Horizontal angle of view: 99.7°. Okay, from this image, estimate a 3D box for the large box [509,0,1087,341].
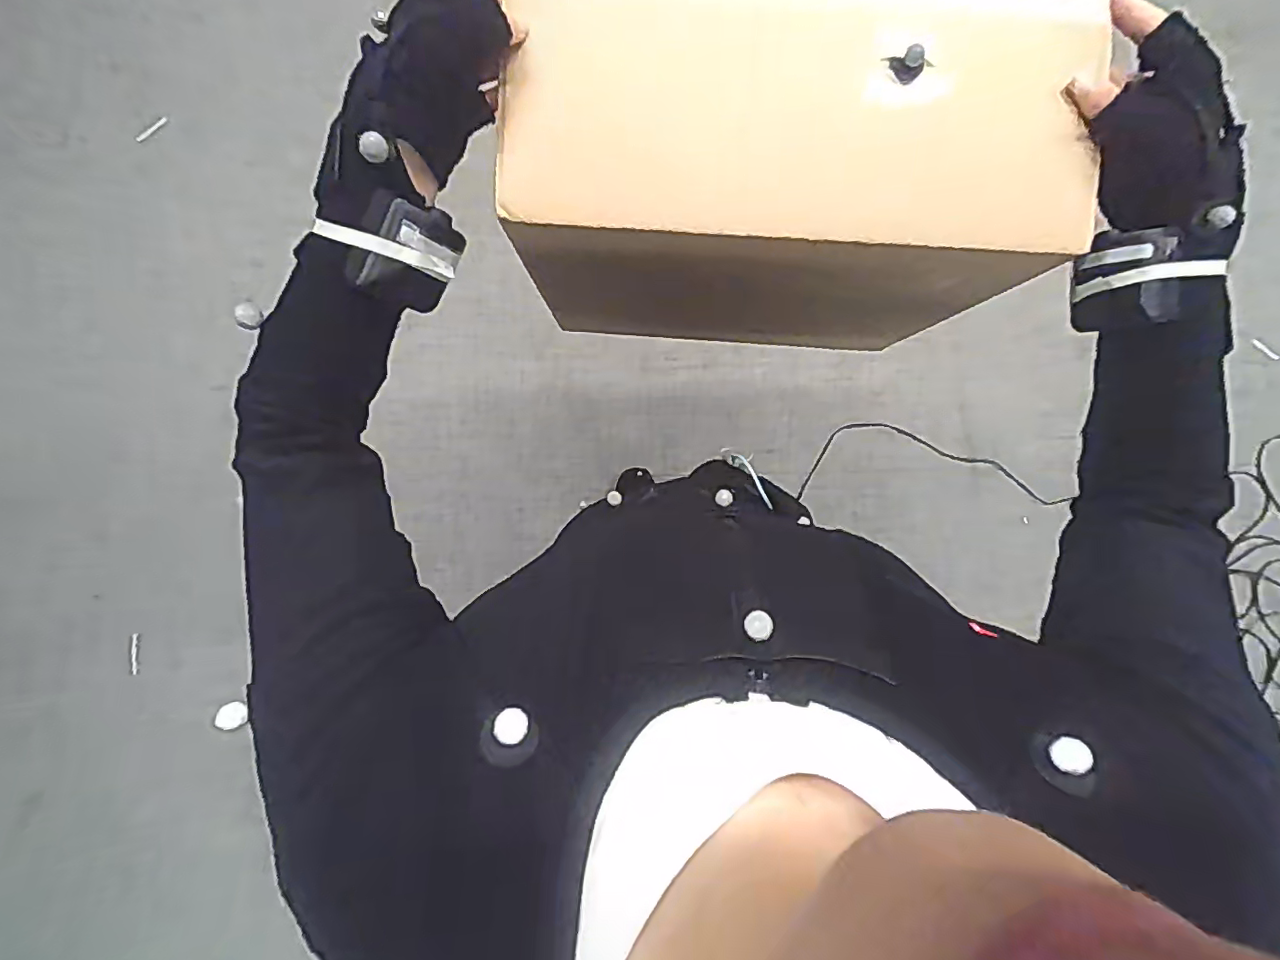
[{"bbox_3d":[0.109,-0.328,0.524,0.408,0.320,0.320,3,92,0],"label":"large box"}]
